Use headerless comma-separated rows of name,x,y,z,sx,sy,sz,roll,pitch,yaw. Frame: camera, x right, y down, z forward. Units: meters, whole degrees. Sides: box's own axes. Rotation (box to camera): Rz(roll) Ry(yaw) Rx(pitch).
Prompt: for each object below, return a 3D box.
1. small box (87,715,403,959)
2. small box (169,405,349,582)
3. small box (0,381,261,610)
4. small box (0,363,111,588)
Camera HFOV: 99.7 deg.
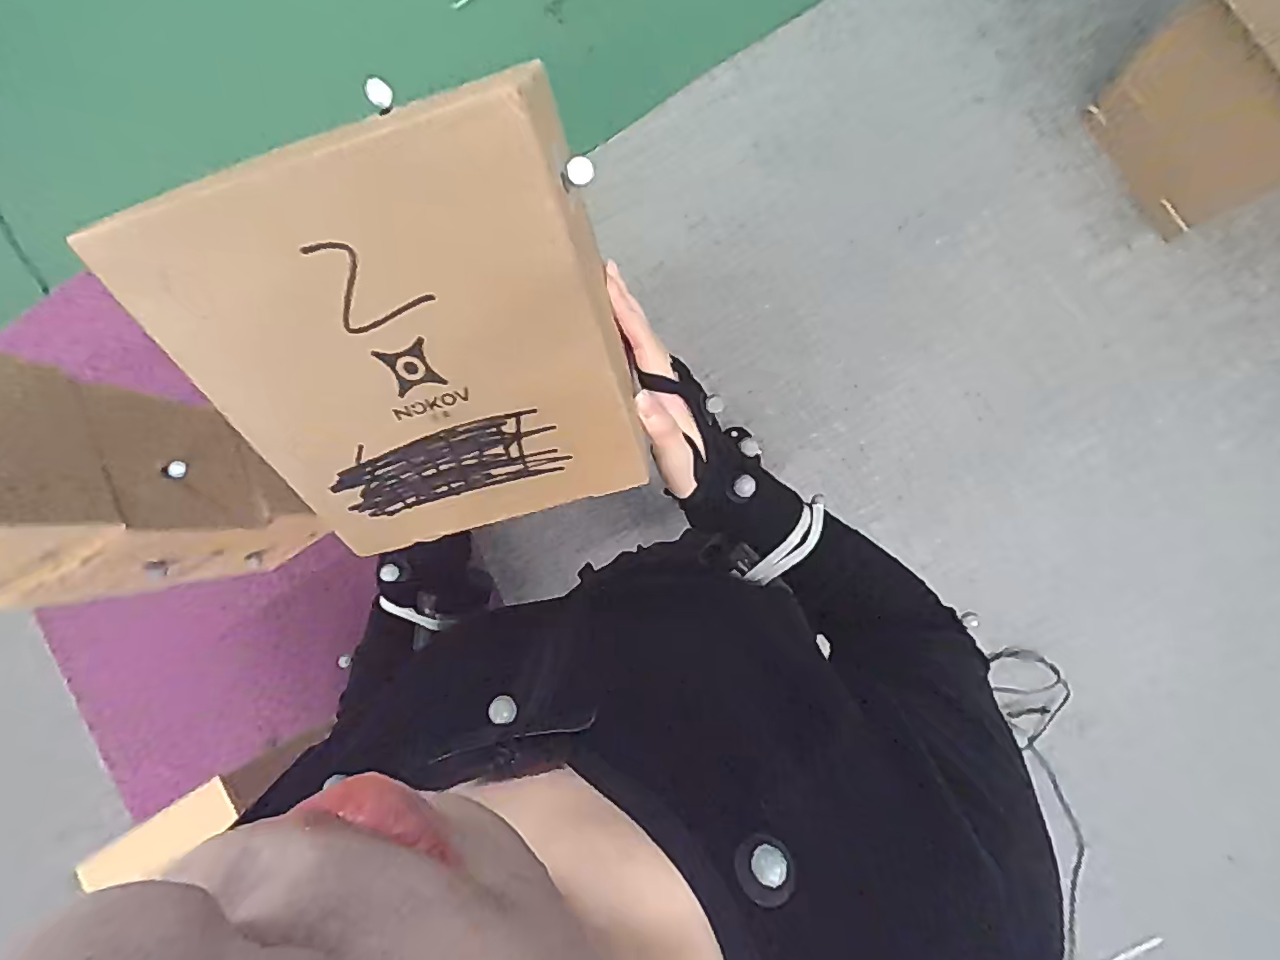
small box,-0.385,0.383,0.560,0.168,0.176,0.179,-32,83,3
small box,-0.560,0.020,0.767,0.168,0.176,0.179,-32,83,5
small box,-0.577,0.017,0.604,0.168,0.176,0.179,-28,84,5
small box,-0.601,0.000,0.442,0.168,0.176,0.179,-28,82,5
